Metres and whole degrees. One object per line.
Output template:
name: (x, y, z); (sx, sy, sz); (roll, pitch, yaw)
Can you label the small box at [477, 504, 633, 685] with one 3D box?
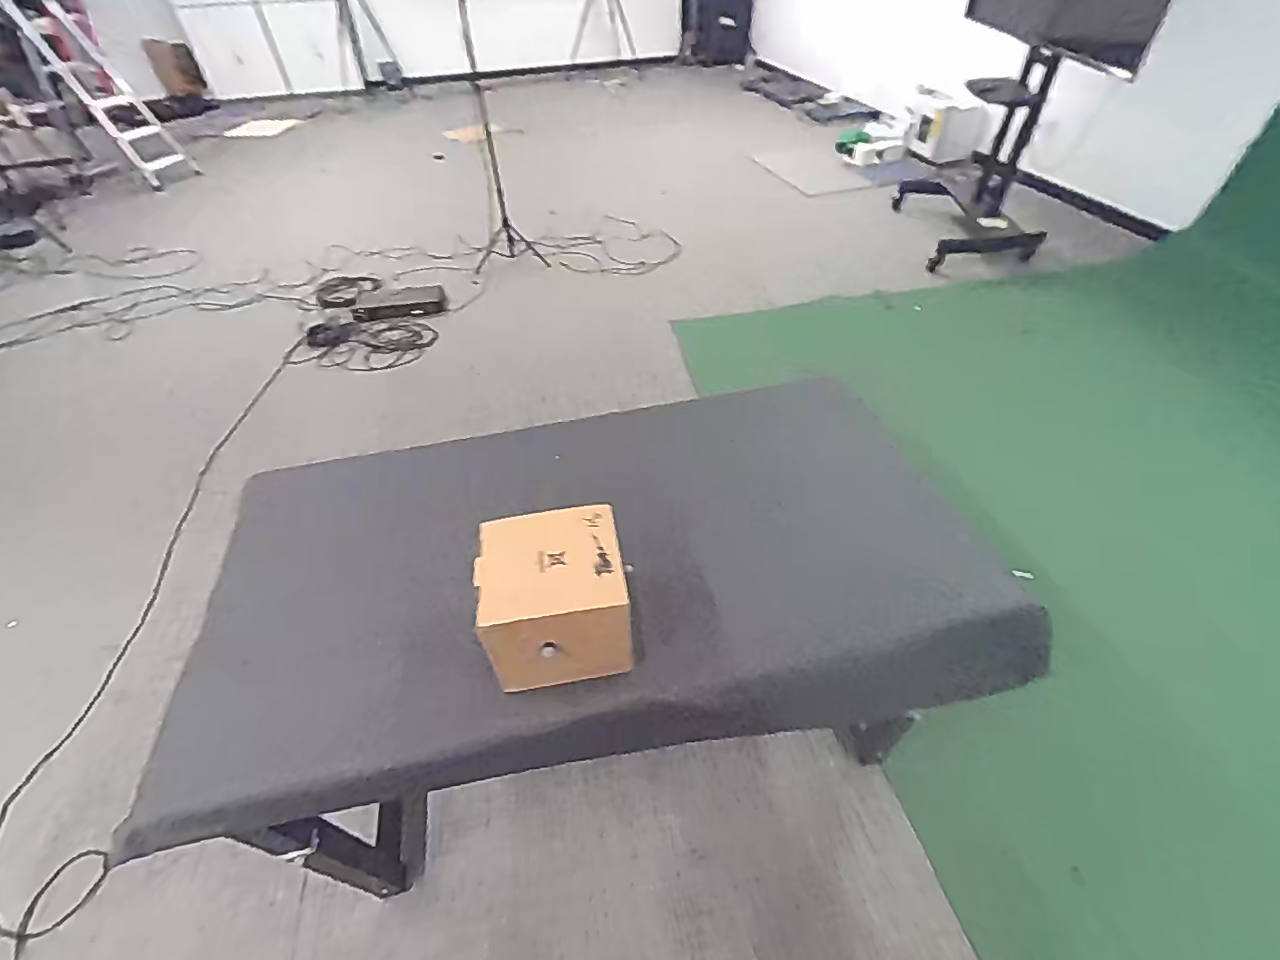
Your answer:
small box: (-0.109, 0.157, 0.733); (0.179, 0.176, 0.168); (-7, 45, -5)
